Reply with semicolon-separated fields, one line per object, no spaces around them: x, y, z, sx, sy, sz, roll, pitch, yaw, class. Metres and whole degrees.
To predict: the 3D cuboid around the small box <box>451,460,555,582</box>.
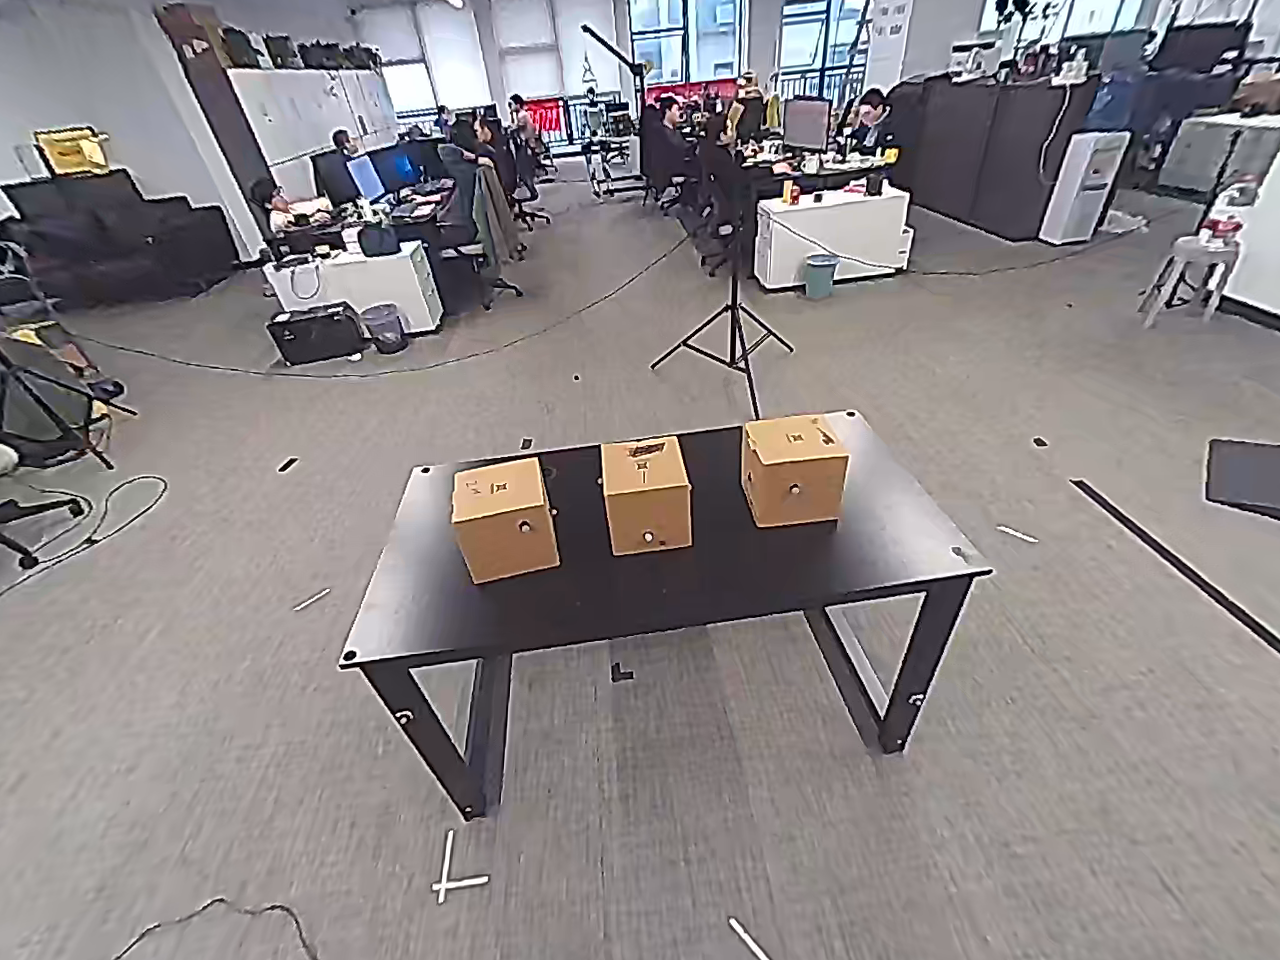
-0.277;0.085;1.121;0.179;0.176;0.168;-12;38;-7;small box

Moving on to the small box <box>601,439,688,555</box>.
0.008;0.035;1.145;0.168;0.176;0.179;-7;38;-1;small box

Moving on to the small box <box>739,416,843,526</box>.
0.317;-0.016;1.166;0.179;0.176;0.168;-7;37;1;small box
